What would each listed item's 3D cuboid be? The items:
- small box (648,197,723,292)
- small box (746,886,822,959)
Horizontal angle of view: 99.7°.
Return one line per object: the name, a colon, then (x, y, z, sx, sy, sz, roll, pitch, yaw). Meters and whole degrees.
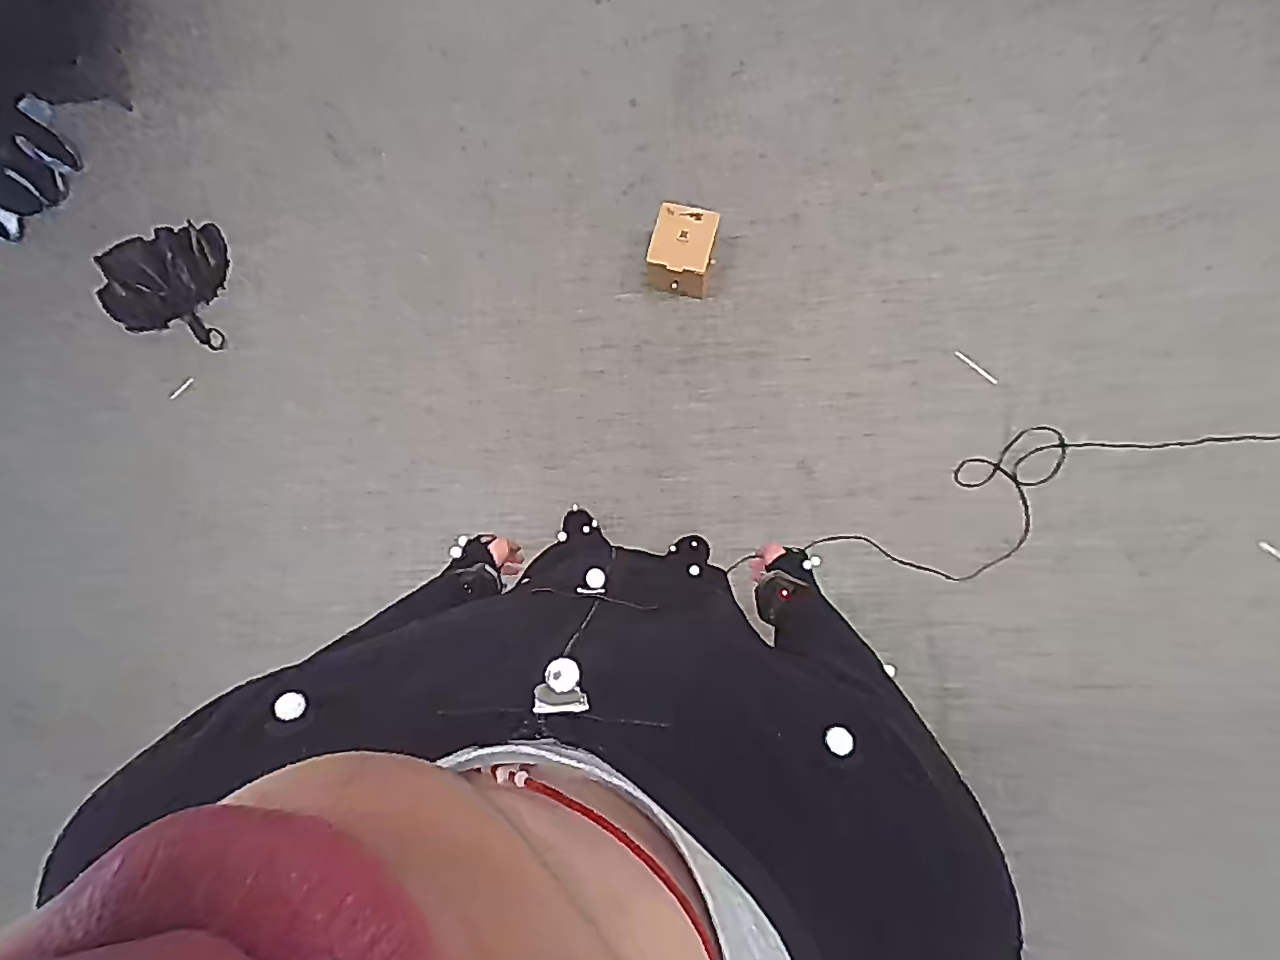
small box: (0.132, -0.652, 1.518, 0.168, 0.176, 0.179, 15, 88, 7)
small box: (0.361, 1.181, 1.378, 0.168, 0.176, 0.179, 1, 87, 7)
